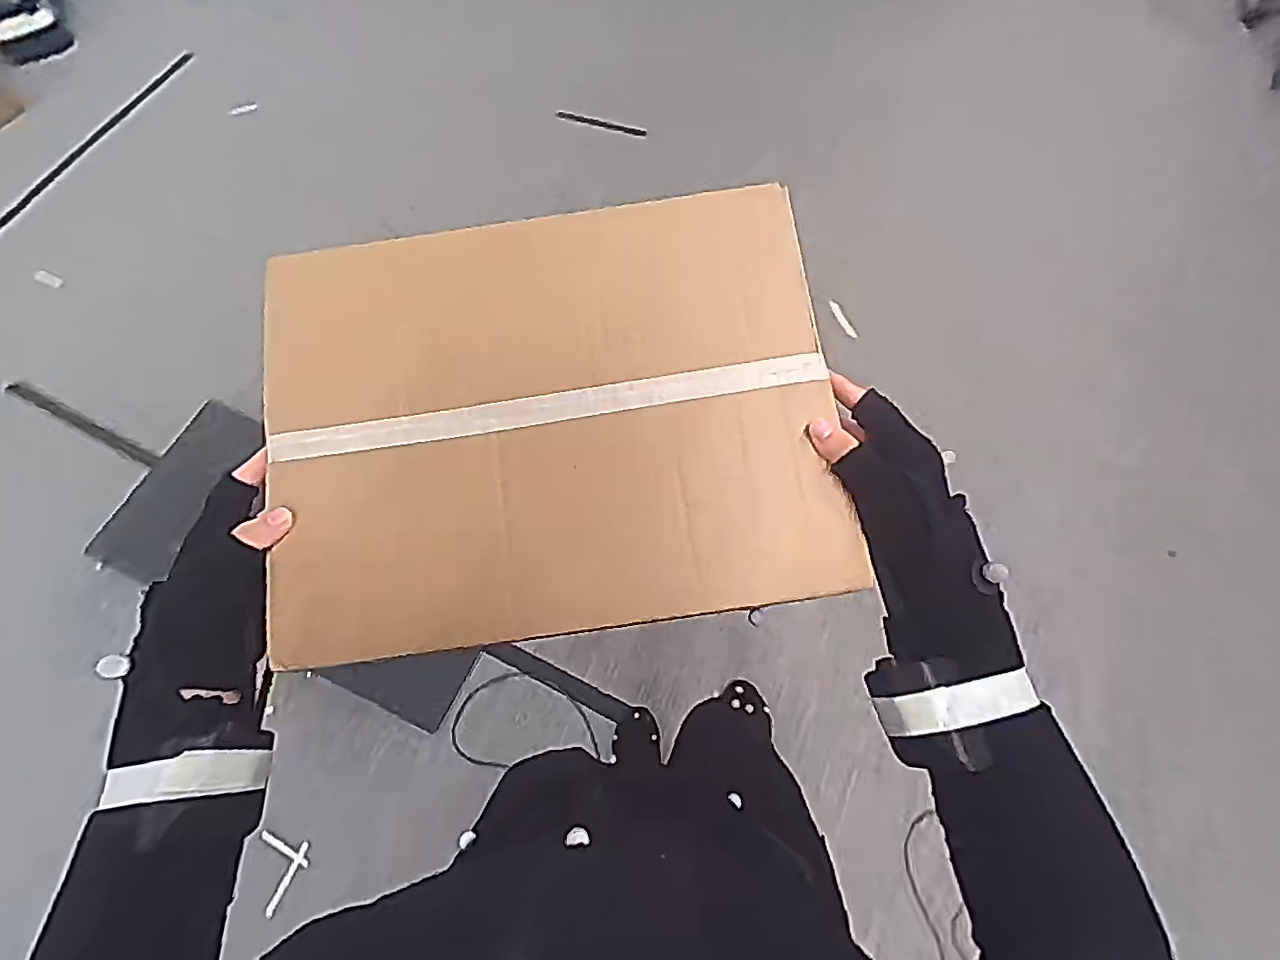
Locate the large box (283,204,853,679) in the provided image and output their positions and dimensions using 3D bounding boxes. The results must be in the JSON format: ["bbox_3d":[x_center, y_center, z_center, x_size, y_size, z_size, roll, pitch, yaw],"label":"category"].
[{"bbox_3d":[-0.062,-0.013,0.551,0.408,0.320,0.320,-9,77,1],"label":"large box"}]

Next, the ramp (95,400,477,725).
[{"bbox_3d":[-0.845,0.190,1.434,0.991,0.206,0.509,21,70,12],"label":"ramp"}]
